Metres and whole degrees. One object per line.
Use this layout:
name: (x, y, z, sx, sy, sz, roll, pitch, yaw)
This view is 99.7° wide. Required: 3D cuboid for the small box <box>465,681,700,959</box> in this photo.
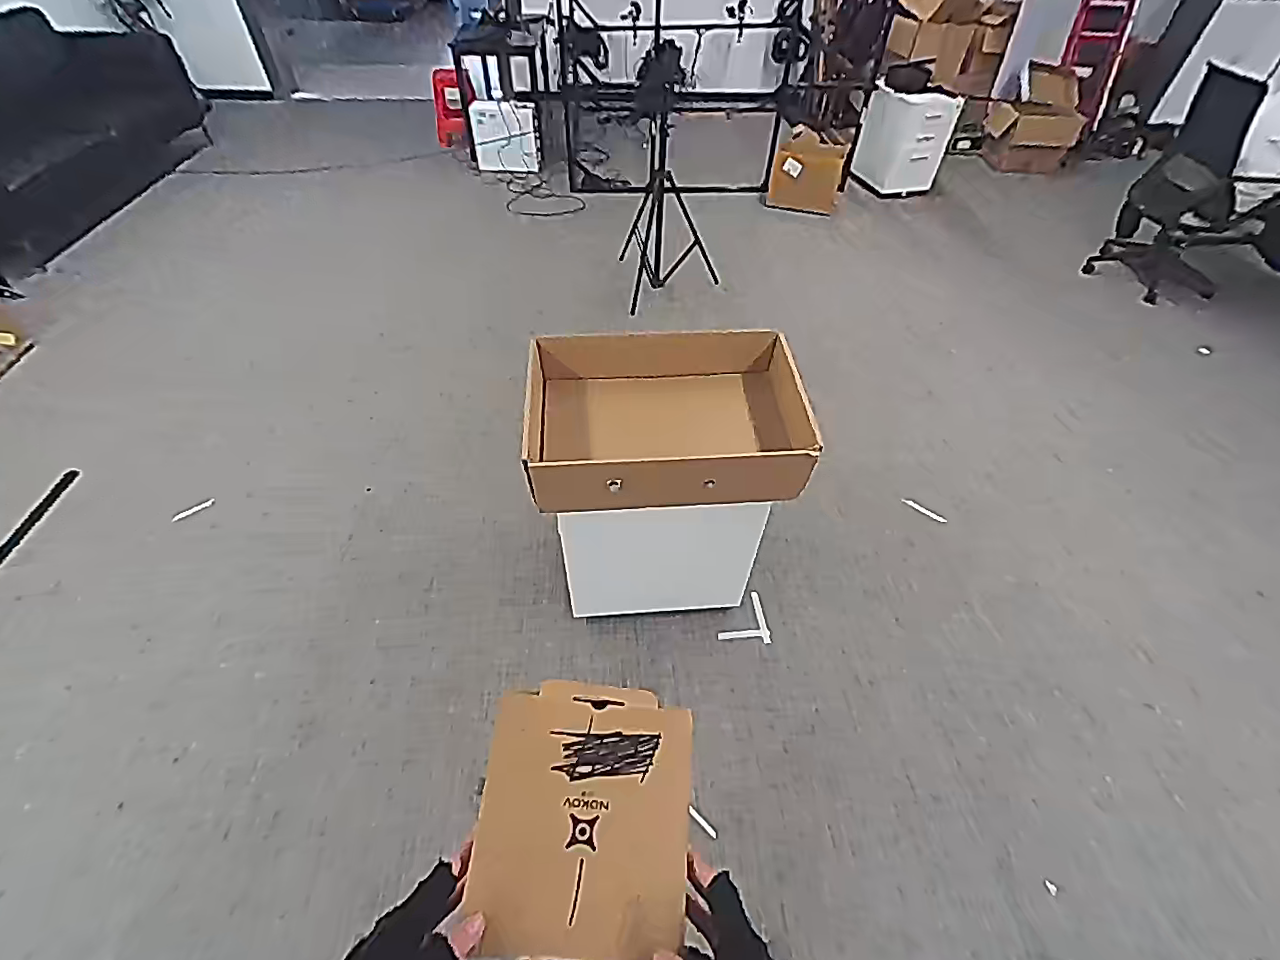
small box: (-0.048, 0.296, 0.494, 0.168, 0.176, 0.179, 8, 62, -4)
